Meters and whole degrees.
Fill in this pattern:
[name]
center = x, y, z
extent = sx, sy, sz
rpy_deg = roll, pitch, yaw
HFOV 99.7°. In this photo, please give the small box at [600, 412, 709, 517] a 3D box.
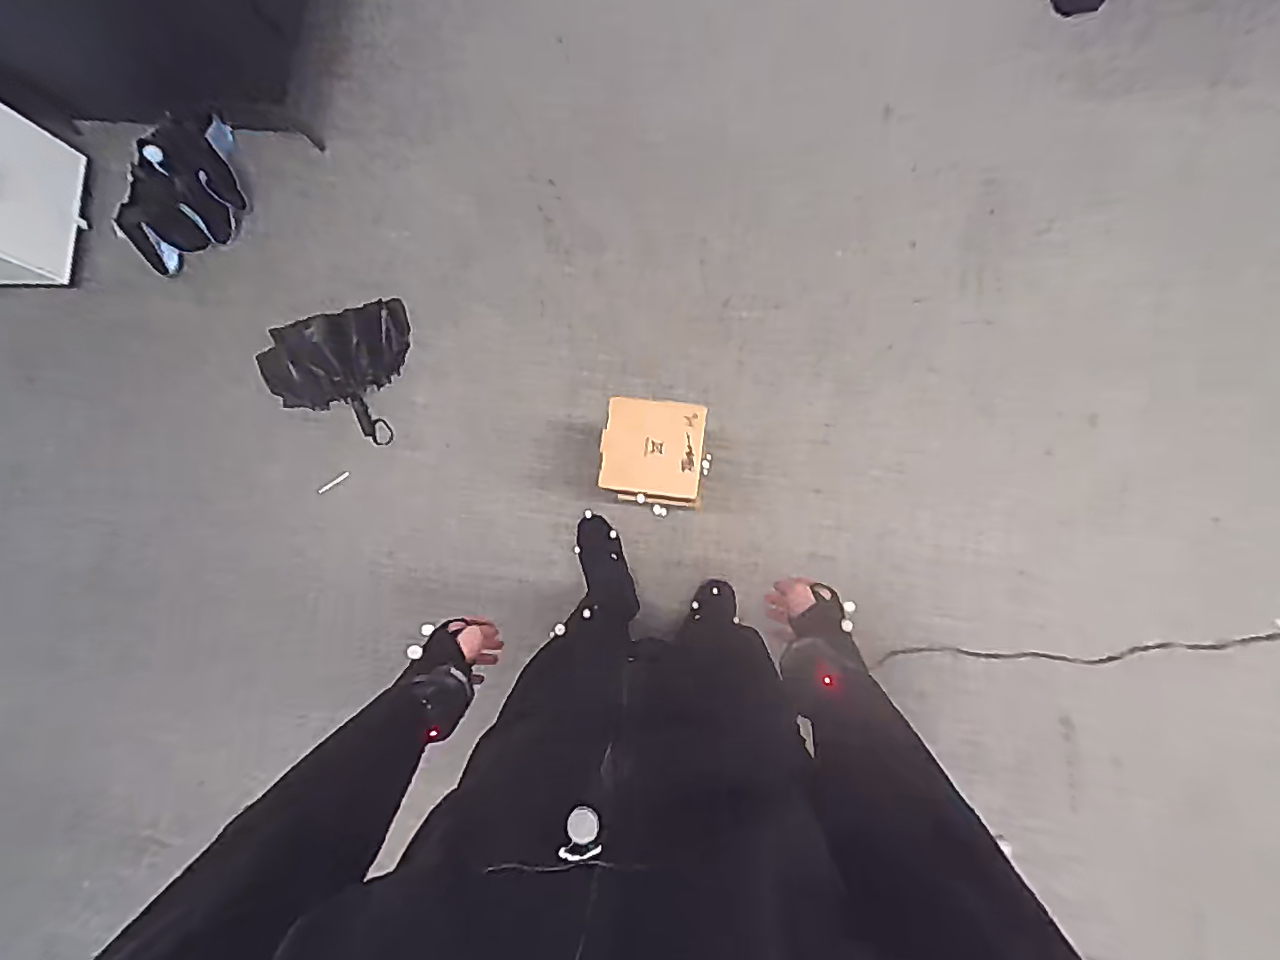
[small box]
center = 0.035, -0.021, 1.019
extent = 0.179, 0.176, 0.168
rpy_deg = 6, 84, 8
